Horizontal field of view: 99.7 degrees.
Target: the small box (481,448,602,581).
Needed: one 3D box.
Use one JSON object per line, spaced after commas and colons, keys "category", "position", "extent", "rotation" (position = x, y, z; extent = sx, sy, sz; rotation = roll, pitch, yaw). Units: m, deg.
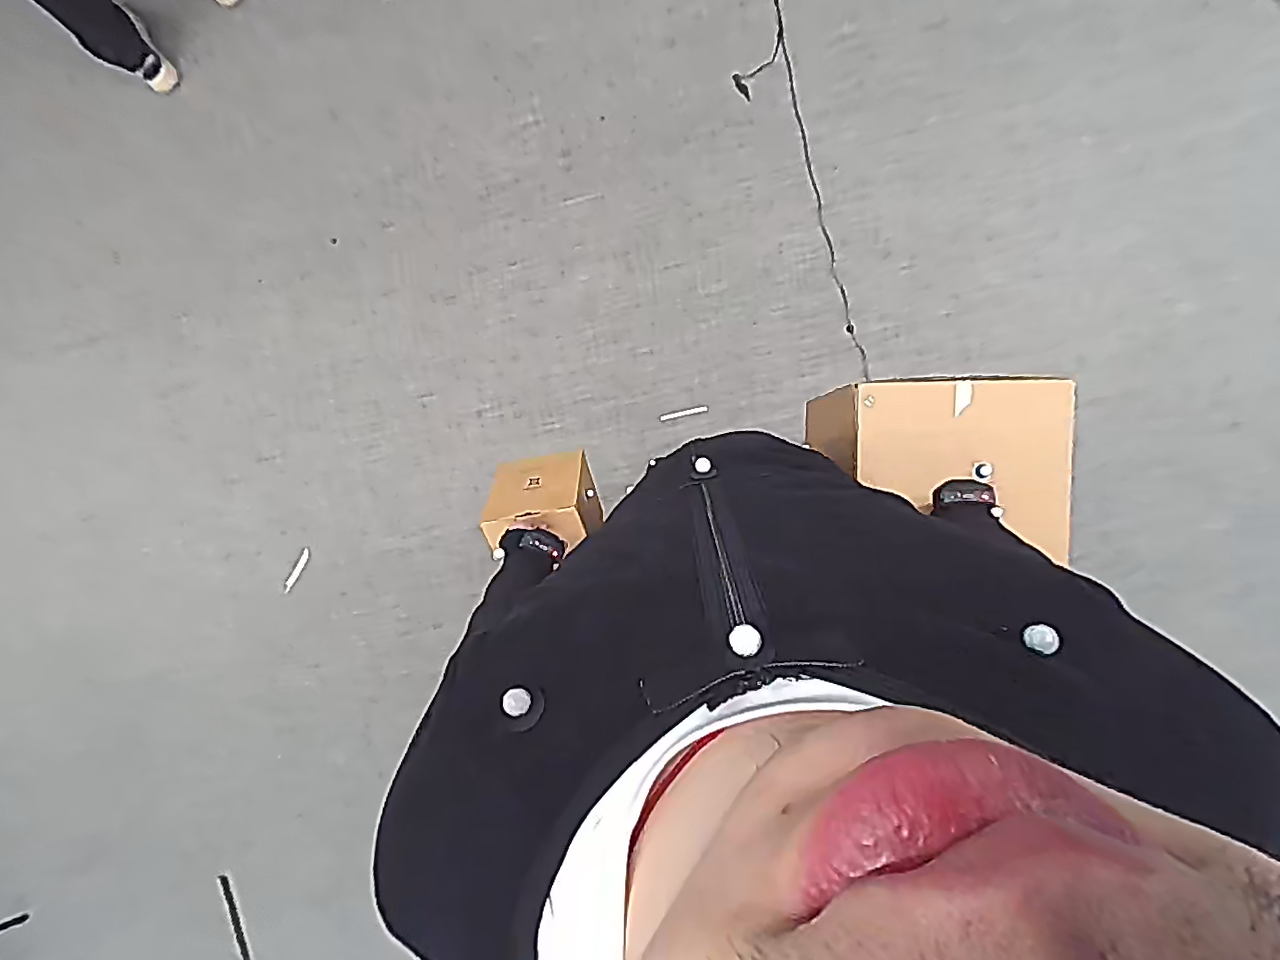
{"category": "small box", "position": [-0.168, 0.069, 0.992], "extent": [0.168, 0.179, 0.176], "rotation": [-10, 127, 6]}
